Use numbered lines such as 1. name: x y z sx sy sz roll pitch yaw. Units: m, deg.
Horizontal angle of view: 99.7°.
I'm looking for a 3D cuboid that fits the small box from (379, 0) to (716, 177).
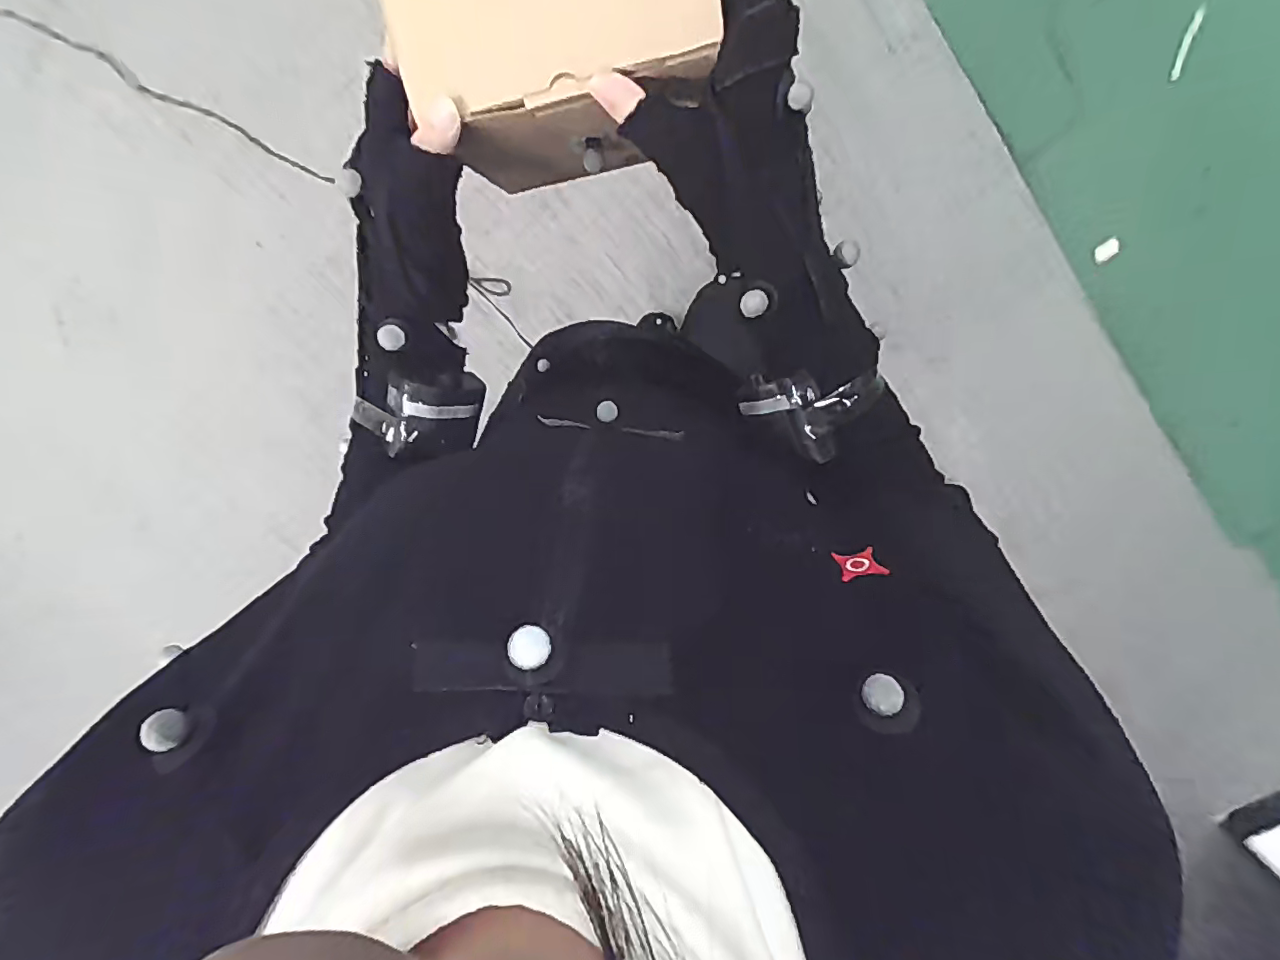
1. small box: -0.050 -0.303 0.328 0.168 0.176 0.179 -11 107 8
